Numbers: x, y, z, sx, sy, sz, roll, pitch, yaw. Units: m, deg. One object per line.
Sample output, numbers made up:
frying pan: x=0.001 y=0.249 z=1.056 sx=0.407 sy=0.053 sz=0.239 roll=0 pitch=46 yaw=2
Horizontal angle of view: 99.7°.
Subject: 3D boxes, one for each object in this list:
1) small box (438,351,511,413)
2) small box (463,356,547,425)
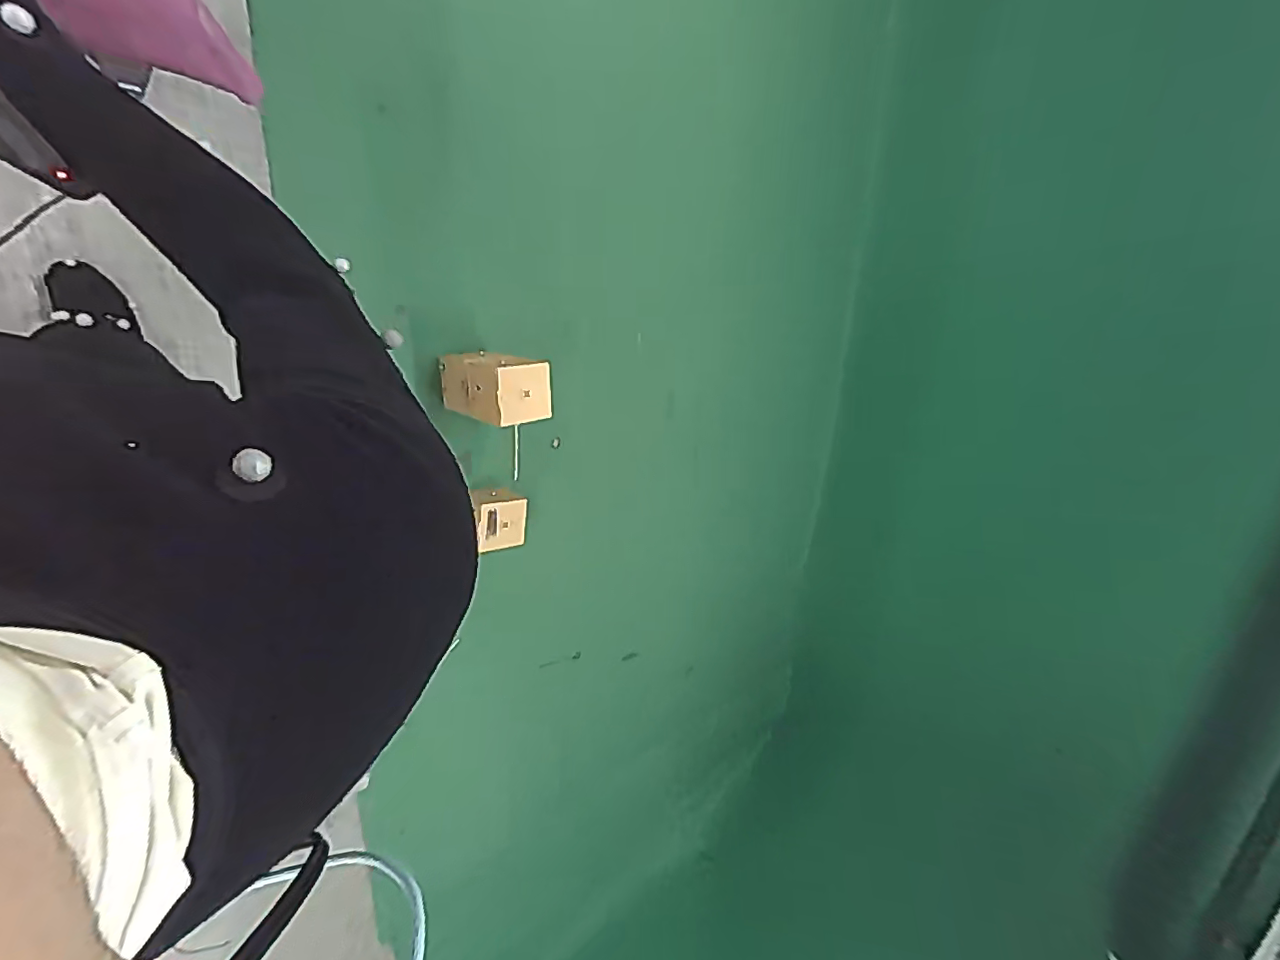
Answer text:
small box: x=-0.516 y=-0.312 z=1.694 sx=0.179 sy=0.176 sz=0.168 roll=-18 pitch=117 yaw=-43
small box: x=-0.396 y=-0.270 z=1.593 sx=0.179 sy=0.176 sz=0.168 roll=-19 pitch=118 yaw=-41
